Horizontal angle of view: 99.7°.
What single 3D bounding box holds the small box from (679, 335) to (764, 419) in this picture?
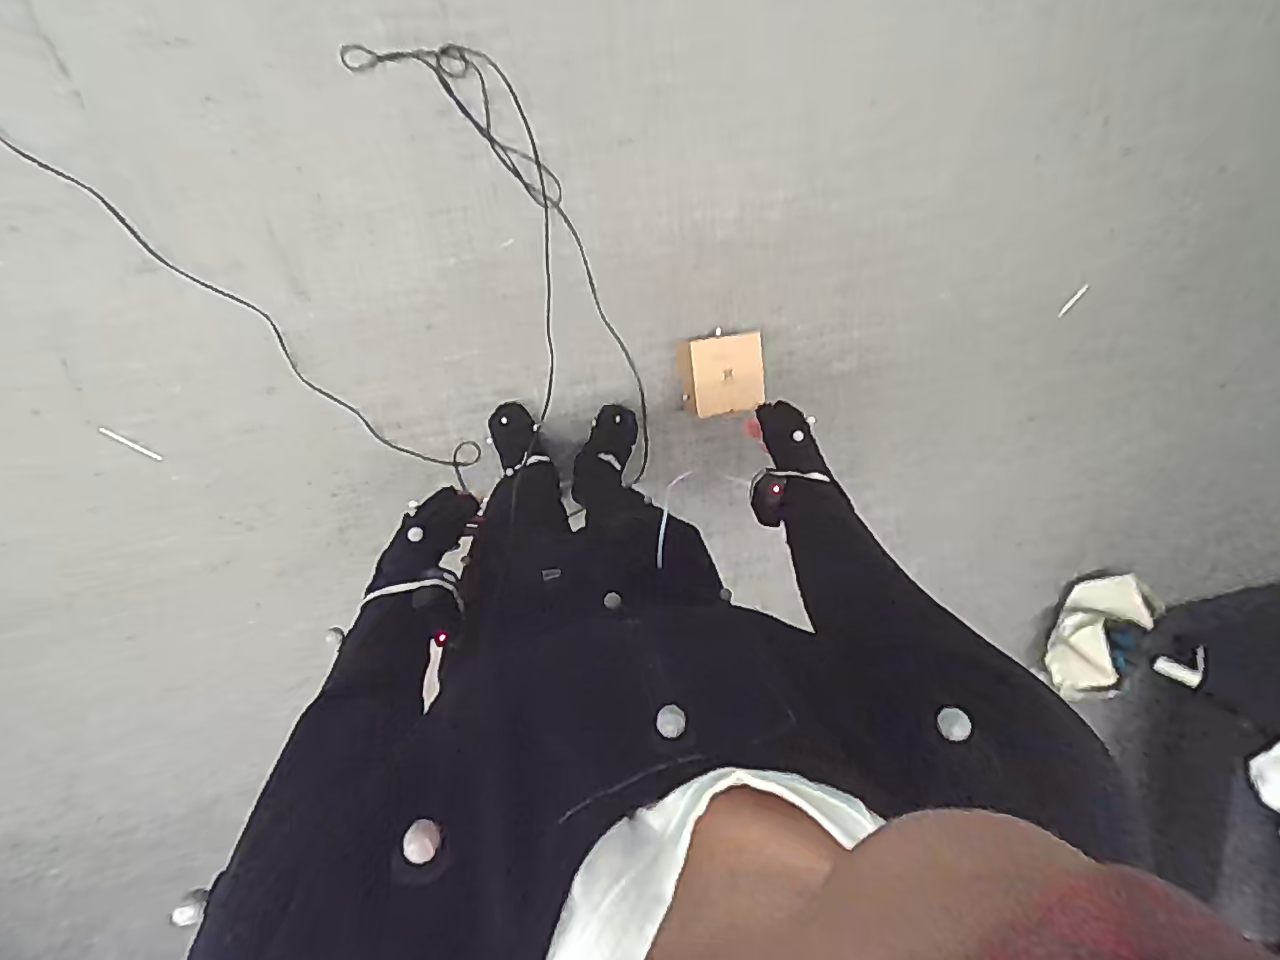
[{"bbox_3d":[0.195,-0.257,1.321,0.168,0.176,0.179,-9,106,-5],"label":"small box"}]
